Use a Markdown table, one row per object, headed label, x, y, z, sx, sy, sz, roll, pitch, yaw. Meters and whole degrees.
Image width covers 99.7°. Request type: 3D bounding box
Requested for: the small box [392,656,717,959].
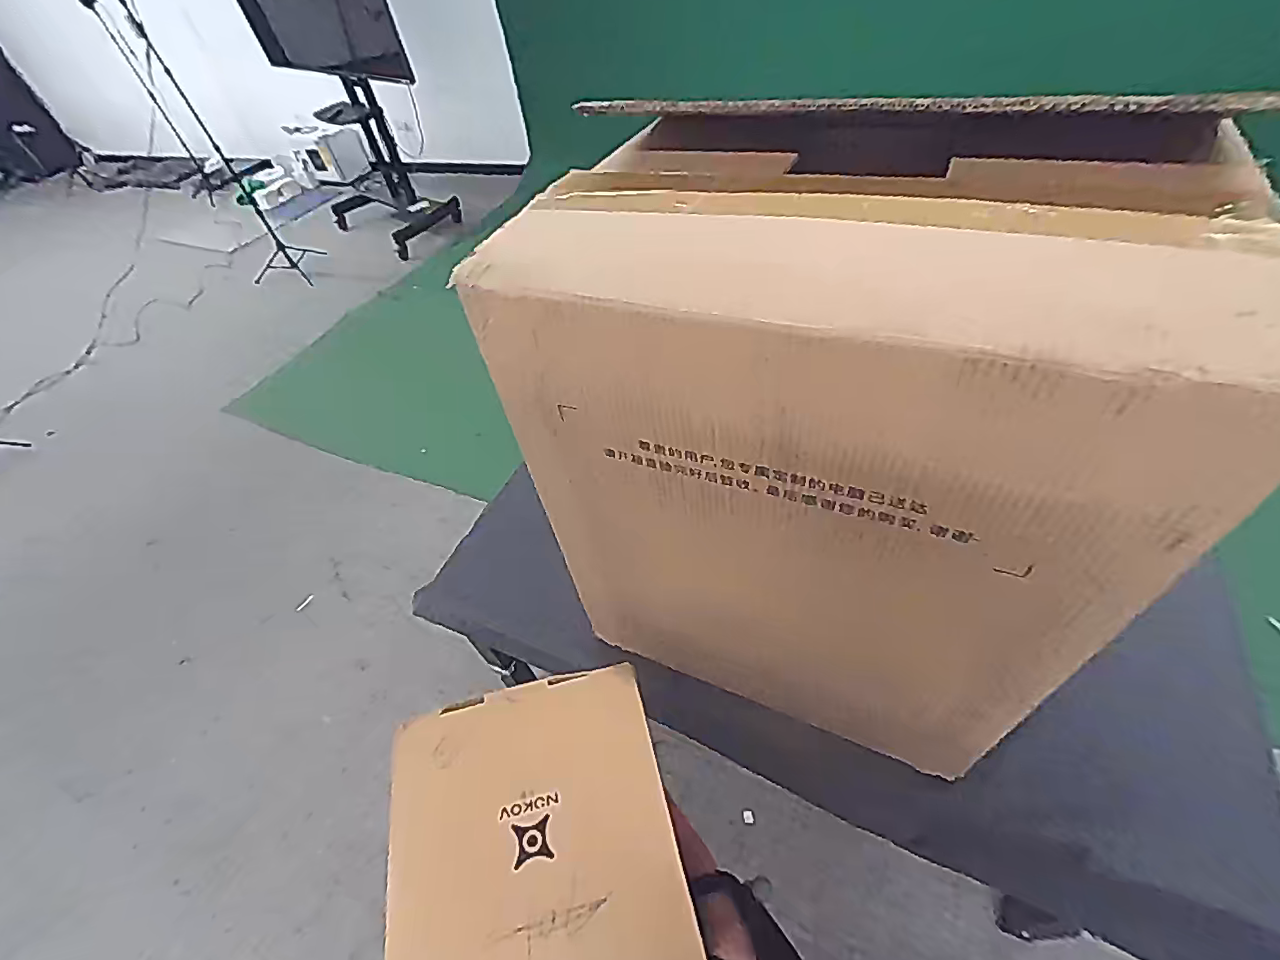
| label | x | y | z | sx | sy | sz | roll | pitch | yaw |
| --- | --- | --- | --- | --- | --- | --- | --- | --- | --- |
| small box | -0.059 | 0.257 | 0.379 | 0.168 | 0.176 | 0.179 | -14 | 51 | -9 |
